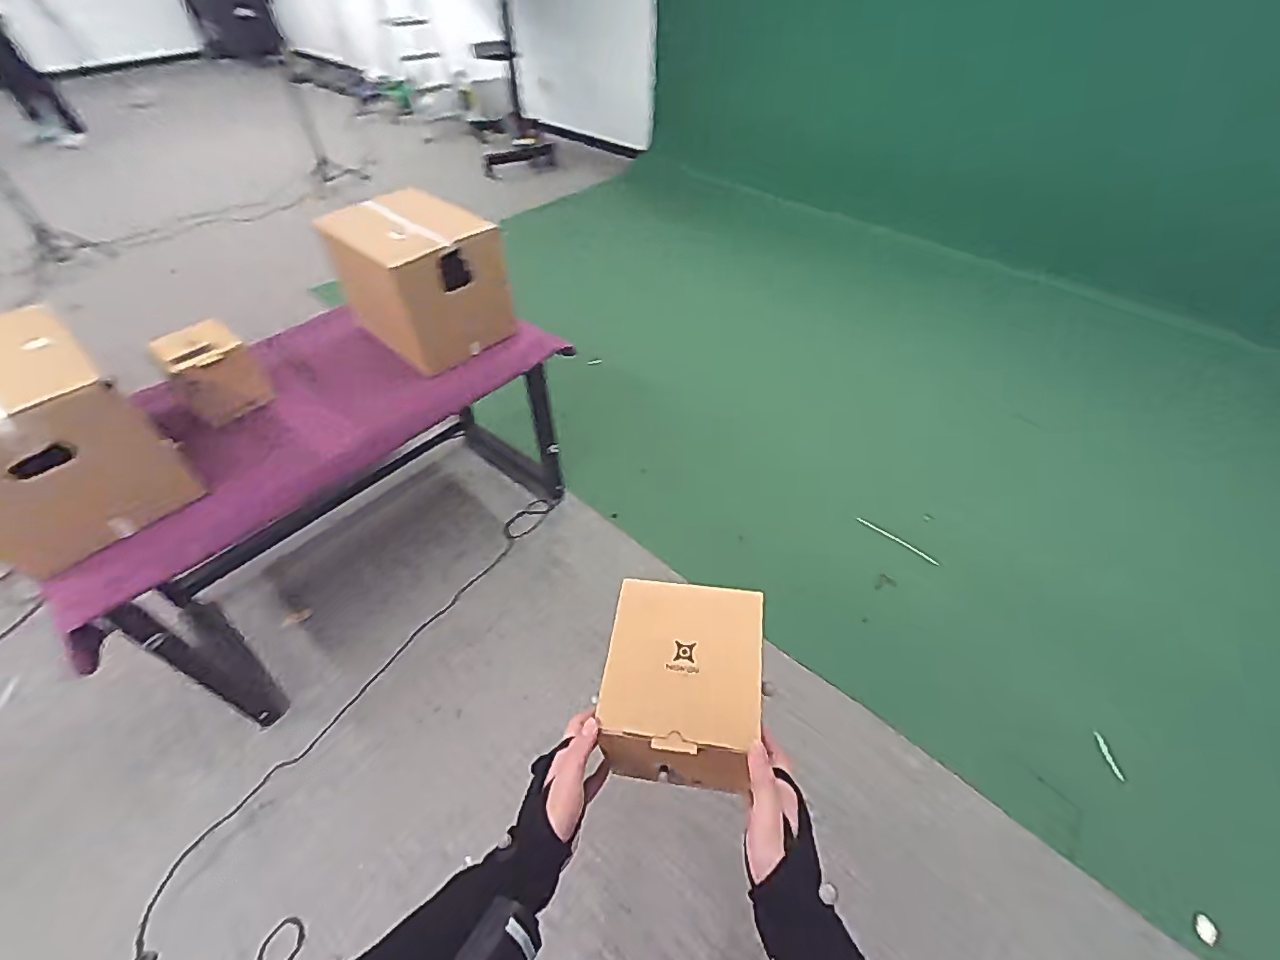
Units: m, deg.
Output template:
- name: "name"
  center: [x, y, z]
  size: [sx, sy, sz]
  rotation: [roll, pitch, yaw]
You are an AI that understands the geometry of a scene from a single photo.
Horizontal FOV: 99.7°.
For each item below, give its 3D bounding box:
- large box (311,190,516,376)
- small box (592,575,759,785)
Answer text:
- name: "large box"
  center: [-0.608, -0.553, 1.499]
  size: [0.408, 0.320, 0.320]
  rotation: [34, 57, 26]
- name: "small box"
  center: [0.046, 0.235, 0.635]
  size: [0.168, 0.176, 0.179]
  rotation: [3, 51, 7]
